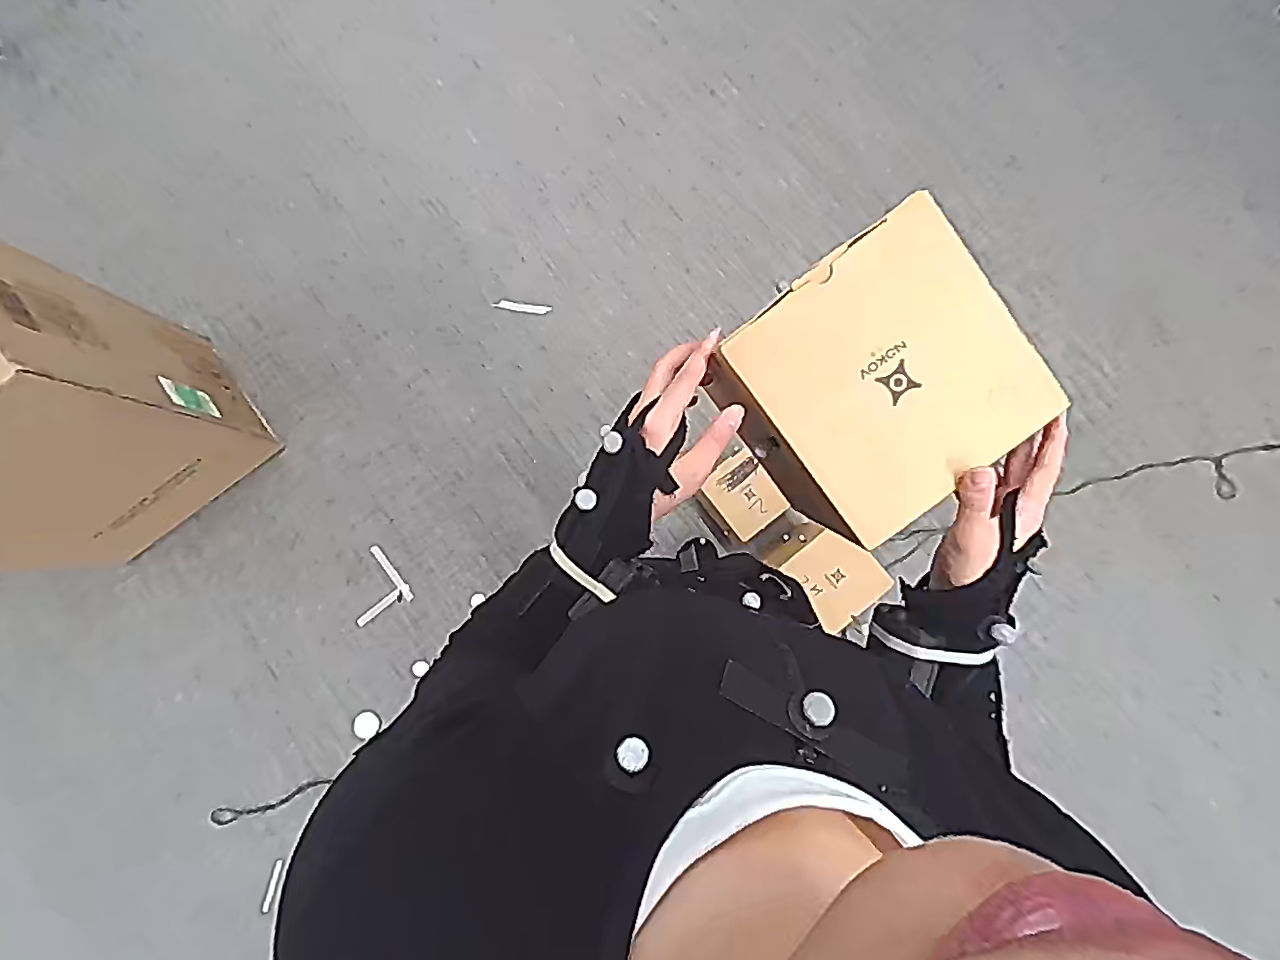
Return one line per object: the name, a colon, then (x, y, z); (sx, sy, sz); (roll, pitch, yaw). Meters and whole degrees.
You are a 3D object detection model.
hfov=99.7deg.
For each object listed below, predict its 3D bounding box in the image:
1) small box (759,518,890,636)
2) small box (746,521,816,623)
small box: (0.373, 0.196, 1.132); (0.179, 0.176, 0.168); (-38, 83, -2)
small box: (0.377, 0.214, 1.295); (0.179, 0.176, 0.168); (-37, 83, -2)
